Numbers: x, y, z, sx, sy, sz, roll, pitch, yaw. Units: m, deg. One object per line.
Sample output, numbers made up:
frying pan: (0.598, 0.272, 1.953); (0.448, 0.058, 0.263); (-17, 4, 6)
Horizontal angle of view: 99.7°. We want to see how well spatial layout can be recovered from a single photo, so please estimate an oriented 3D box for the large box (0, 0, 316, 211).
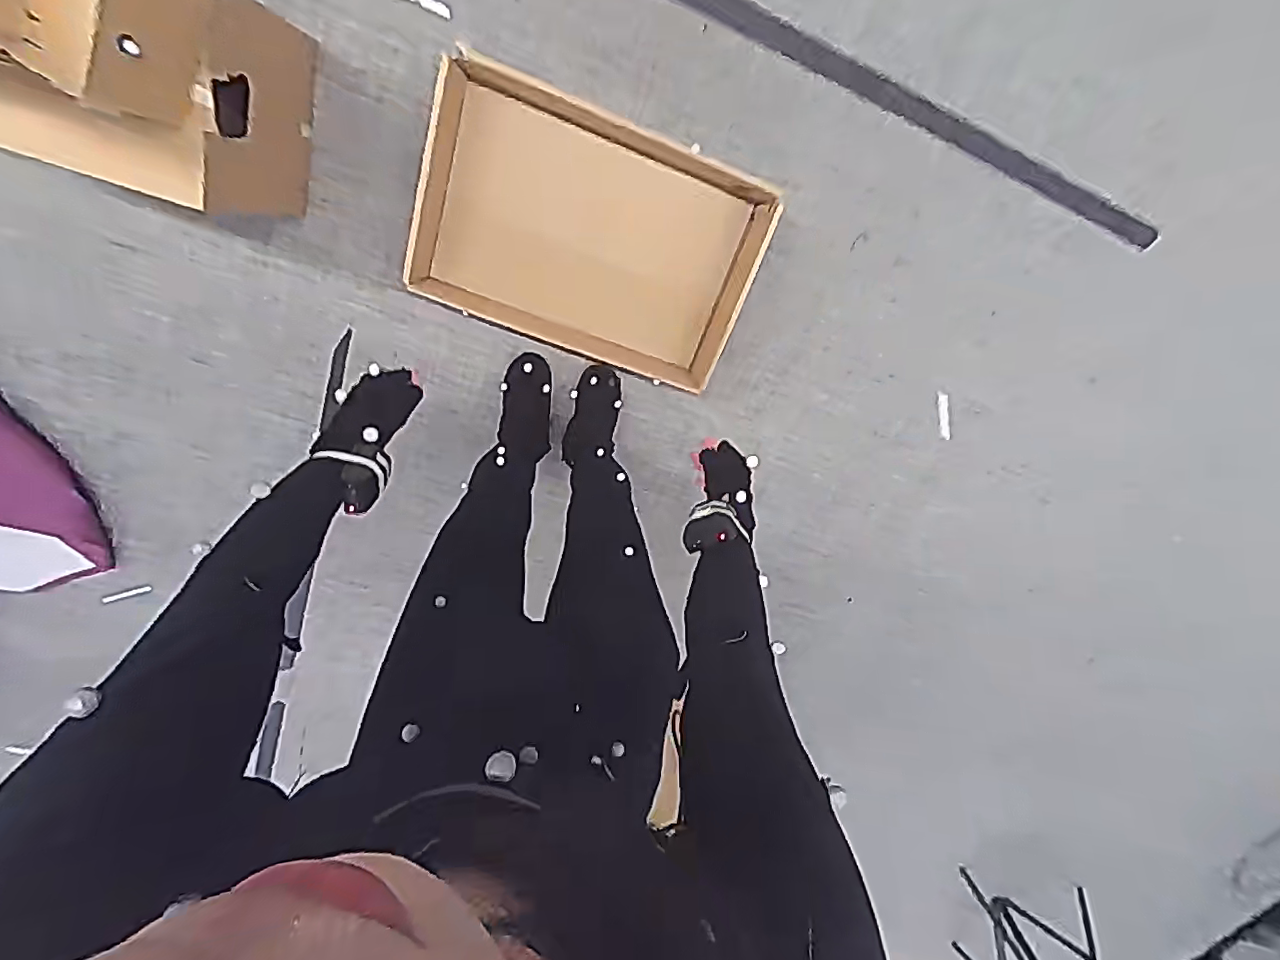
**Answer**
large box: (-0.811, -0.662, 0.871); (0.408, 0.320, 0.320); (14, 113, -11)
